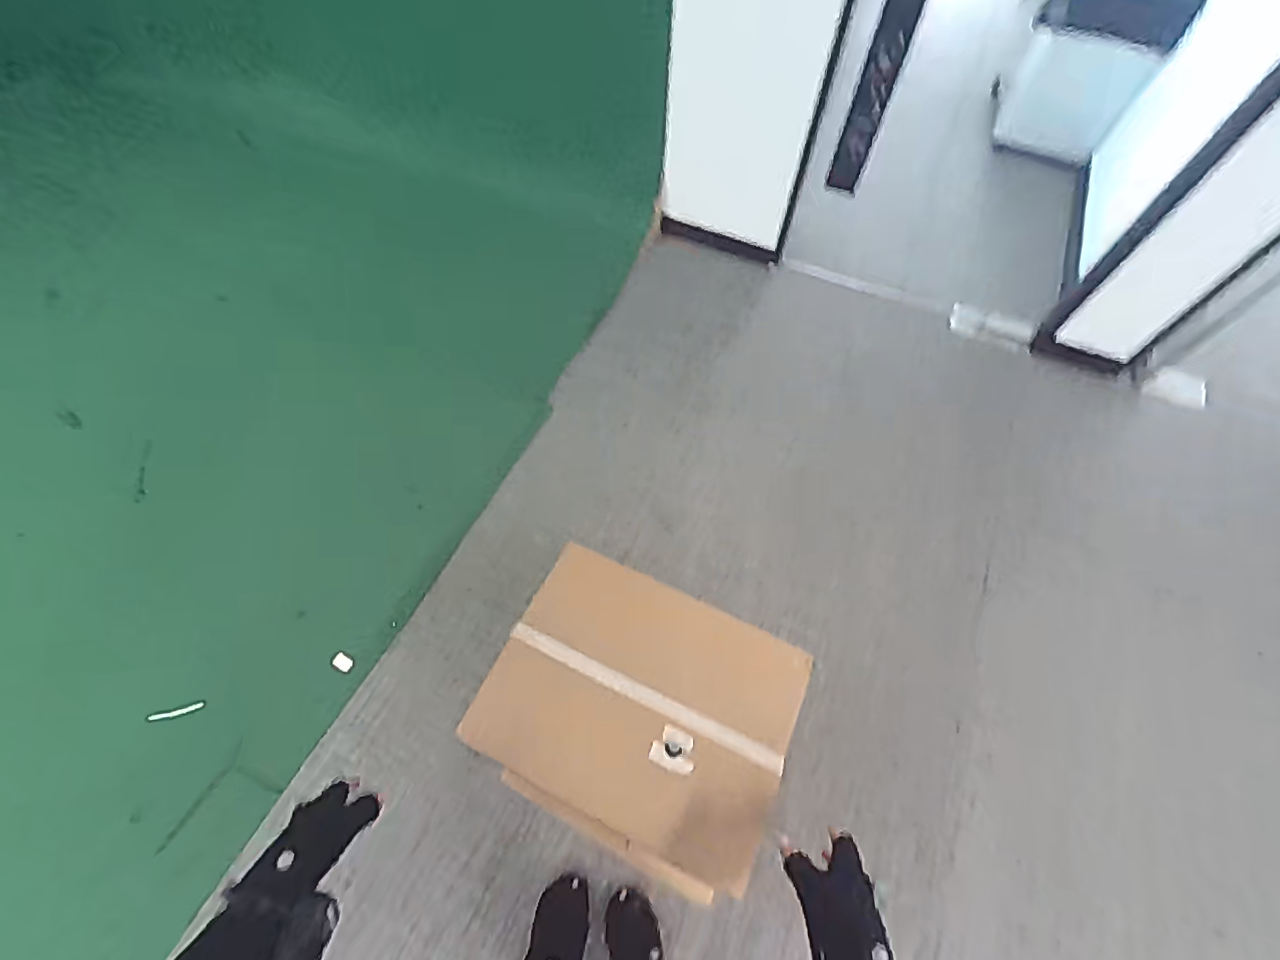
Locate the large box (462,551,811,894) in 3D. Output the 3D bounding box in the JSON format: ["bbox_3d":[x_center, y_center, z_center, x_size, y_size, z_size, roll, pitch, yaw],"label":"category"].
[{"bbox_3d":[-0.004,0.378,0.869,0.408,0.320,0.320,24,59,11],"label":"large box"}]
